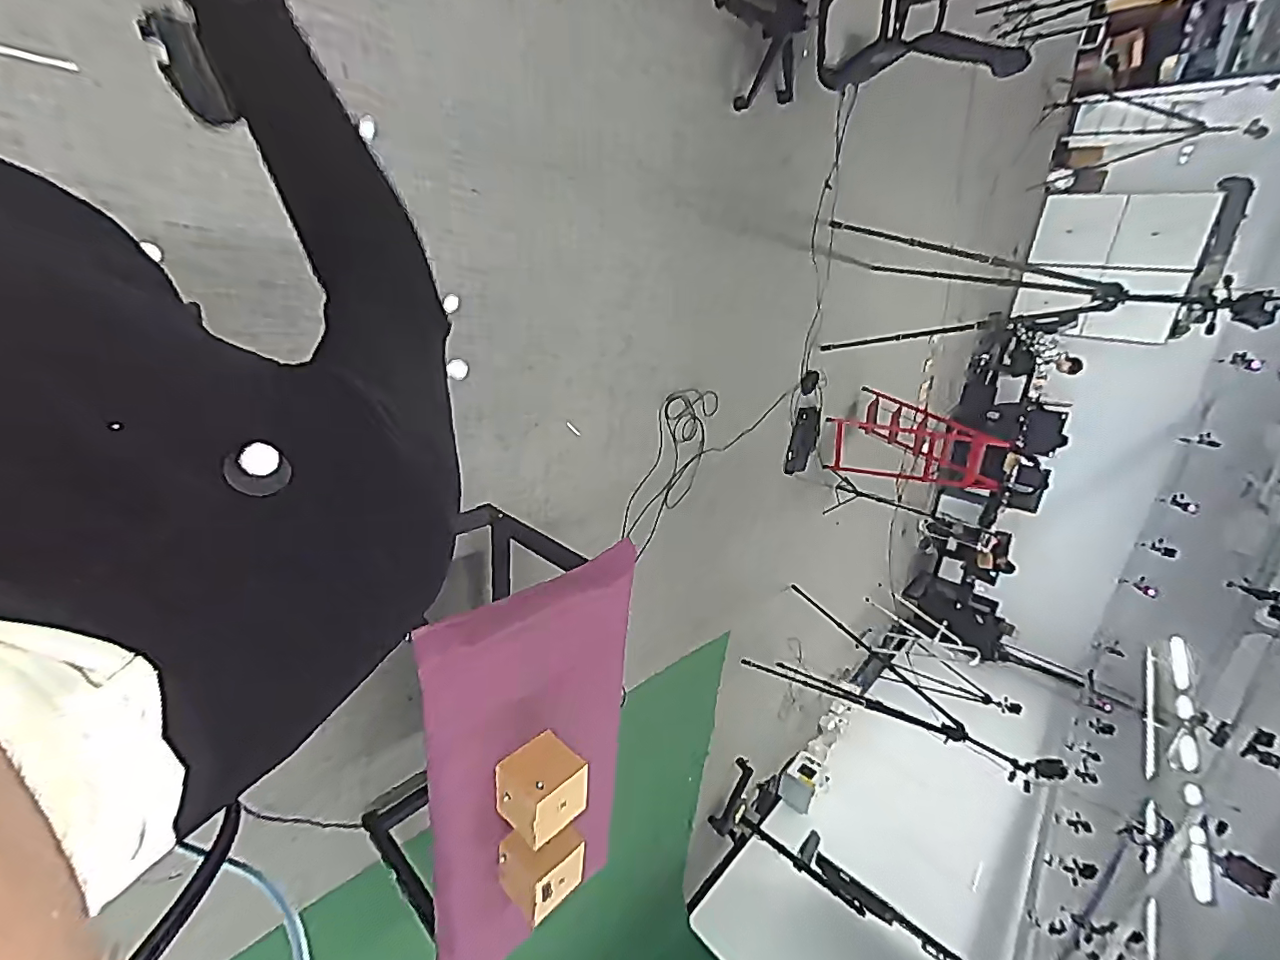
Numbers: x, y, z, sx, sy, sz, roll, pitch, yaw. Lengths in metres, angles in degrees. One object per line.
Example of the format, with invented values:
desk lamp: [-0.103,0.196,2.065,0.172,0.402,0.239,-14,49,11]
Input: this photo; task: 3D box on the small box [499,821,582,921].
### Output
small box: [-0.288,1.083,1.547,0.179,0.176,0.168,-16,118,-47]

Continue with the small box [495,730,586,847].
small box: [-0.268,0.813,1.449,0.179,0.176,0.168,-18,120,-44]
